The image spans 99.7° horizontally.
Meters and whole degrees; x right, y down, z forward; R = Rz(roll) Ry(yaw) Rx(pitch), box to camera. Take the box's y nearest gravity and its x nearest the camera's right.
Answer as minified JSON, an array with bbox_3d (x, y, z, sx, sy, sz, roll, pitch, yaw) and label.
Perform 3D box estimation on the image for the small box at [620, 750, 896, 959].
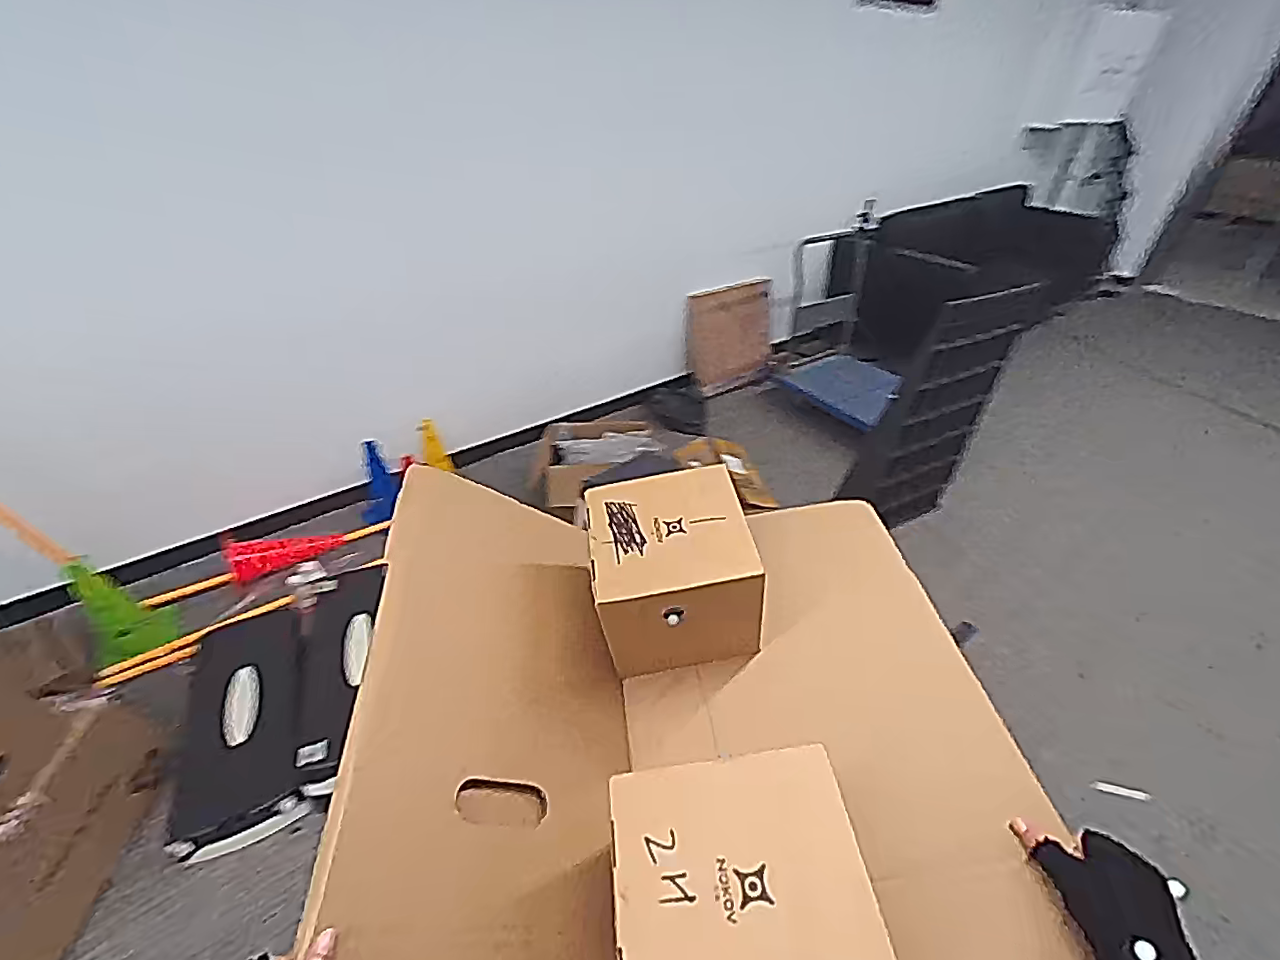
[{"bbox_3d":[0.084,0.340,0.436,0.179,0.176,0.168,-9,44,2],"label":"small box"}]
